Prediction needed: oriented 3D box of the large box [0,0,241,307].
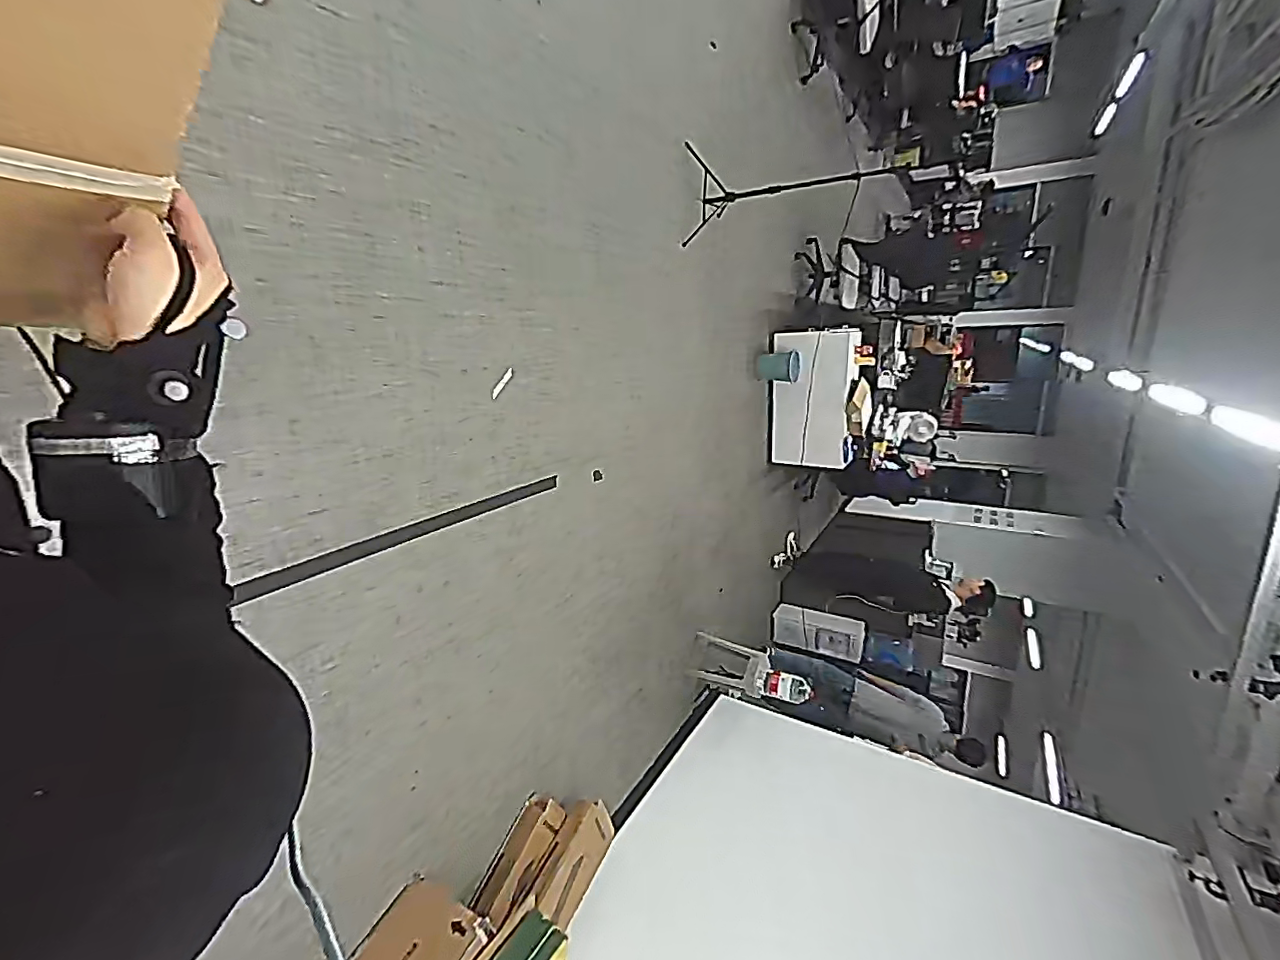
[{"bbox_3d":[-0.453,-0.289,0.184,0.408,0.320,0.320,-21,83,-55],"label":"large box"}]
